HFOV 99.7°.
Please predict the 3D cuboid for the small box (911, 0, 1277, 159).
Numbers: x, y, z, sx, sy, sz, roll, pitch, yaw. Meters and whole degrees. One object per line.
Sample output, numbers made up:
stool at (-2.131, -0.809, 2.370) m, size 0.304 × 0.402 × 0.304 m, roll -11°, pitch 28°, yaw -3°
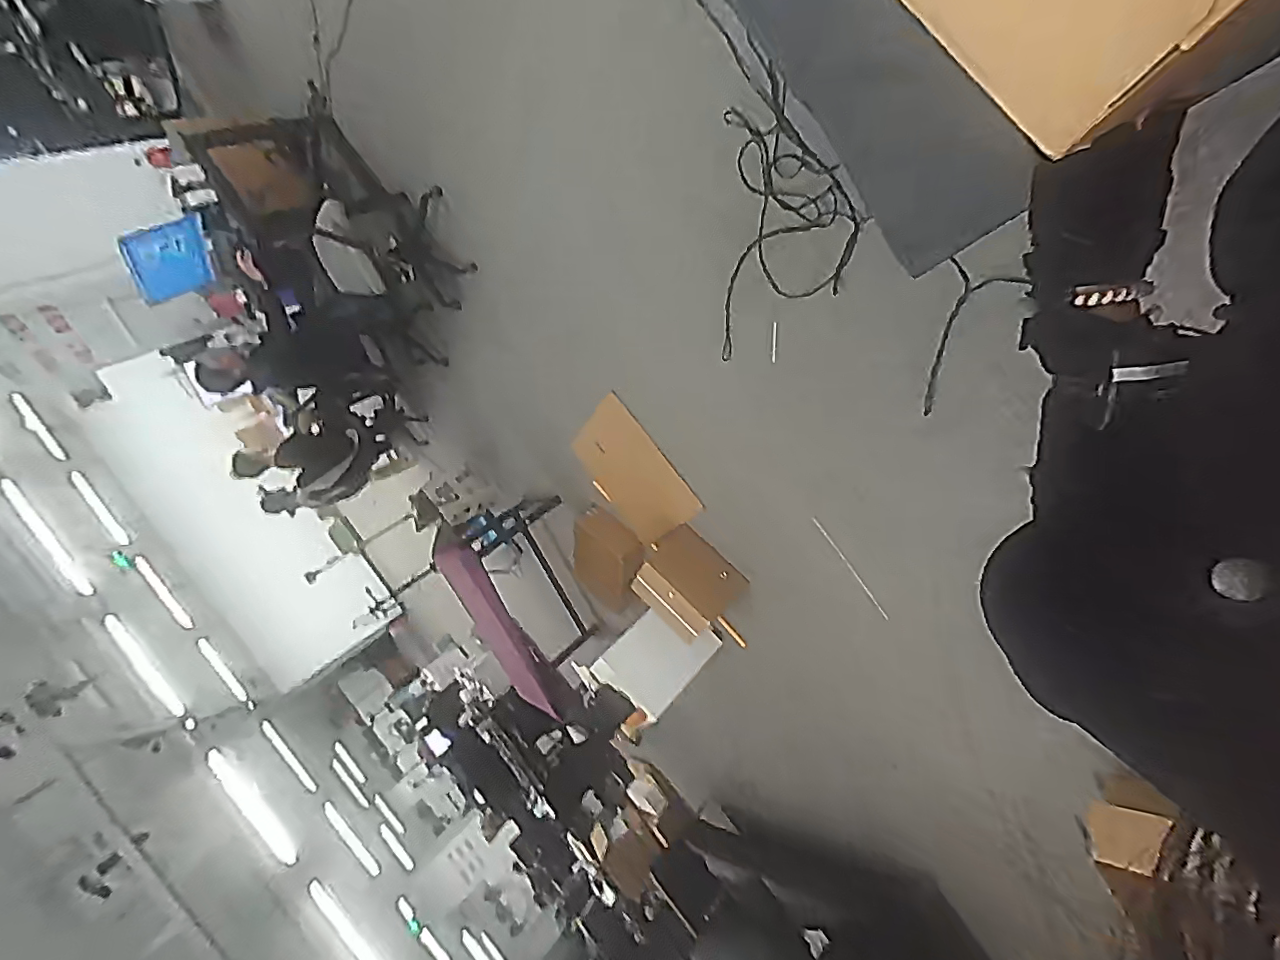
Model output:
small box at (0.266, -0.311, 0.268) m, size 0.179 × 0.176 × 0.168 m, roll 53°, pitch 154°, yaw 6°
